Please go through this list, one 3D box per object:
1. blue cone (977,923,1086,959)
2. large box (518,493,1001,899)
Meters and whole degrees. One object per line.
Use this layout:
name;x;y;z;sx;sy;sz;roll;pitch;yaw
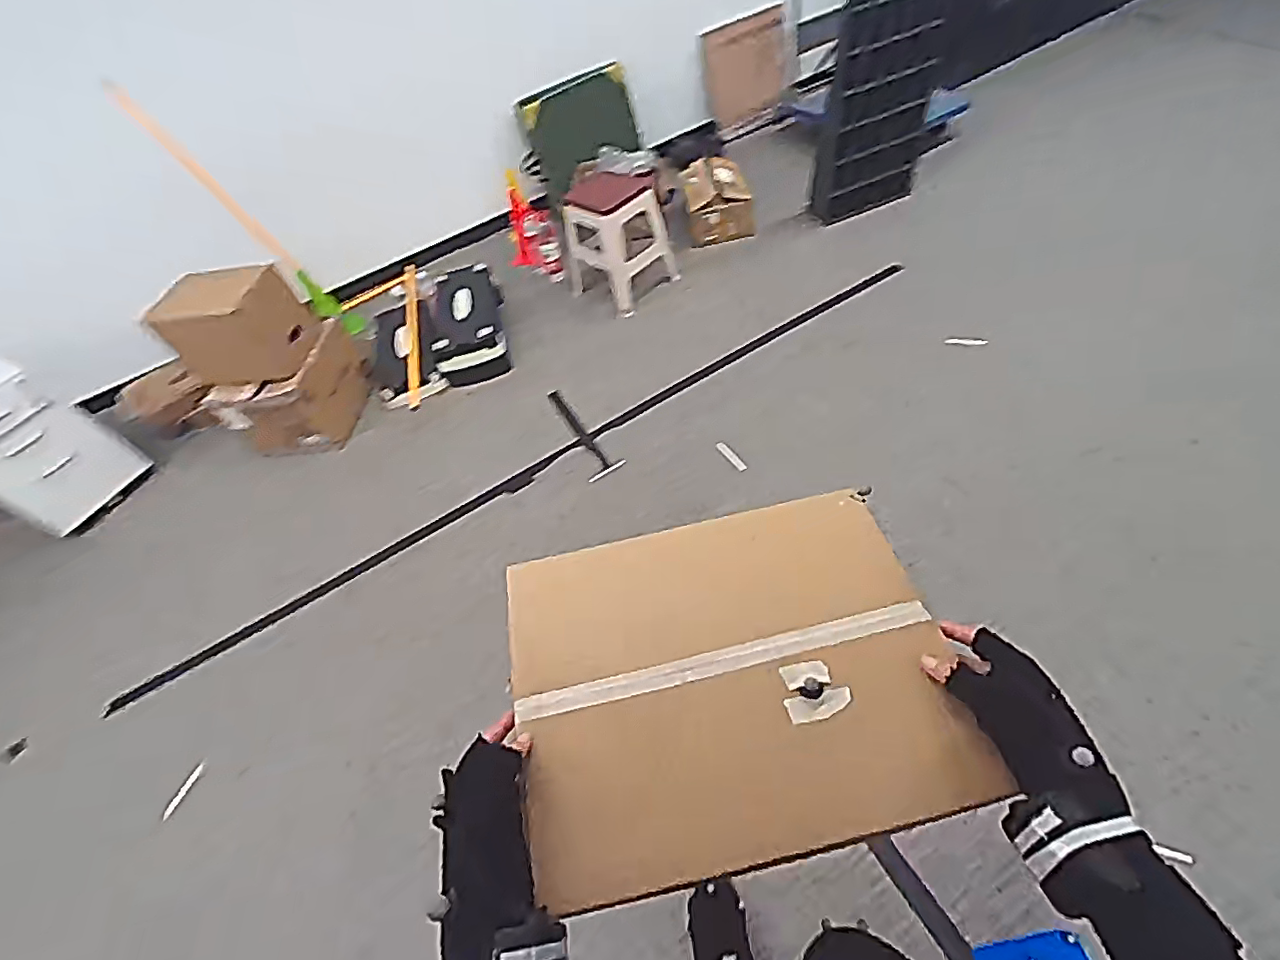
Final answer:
blue cone;0.716;0.842;0.858;0.193;0.380;0.192;-13;50;2
large box;0.096;0.265;0.649;0.408;0.320;0.320;-12;53;-2
